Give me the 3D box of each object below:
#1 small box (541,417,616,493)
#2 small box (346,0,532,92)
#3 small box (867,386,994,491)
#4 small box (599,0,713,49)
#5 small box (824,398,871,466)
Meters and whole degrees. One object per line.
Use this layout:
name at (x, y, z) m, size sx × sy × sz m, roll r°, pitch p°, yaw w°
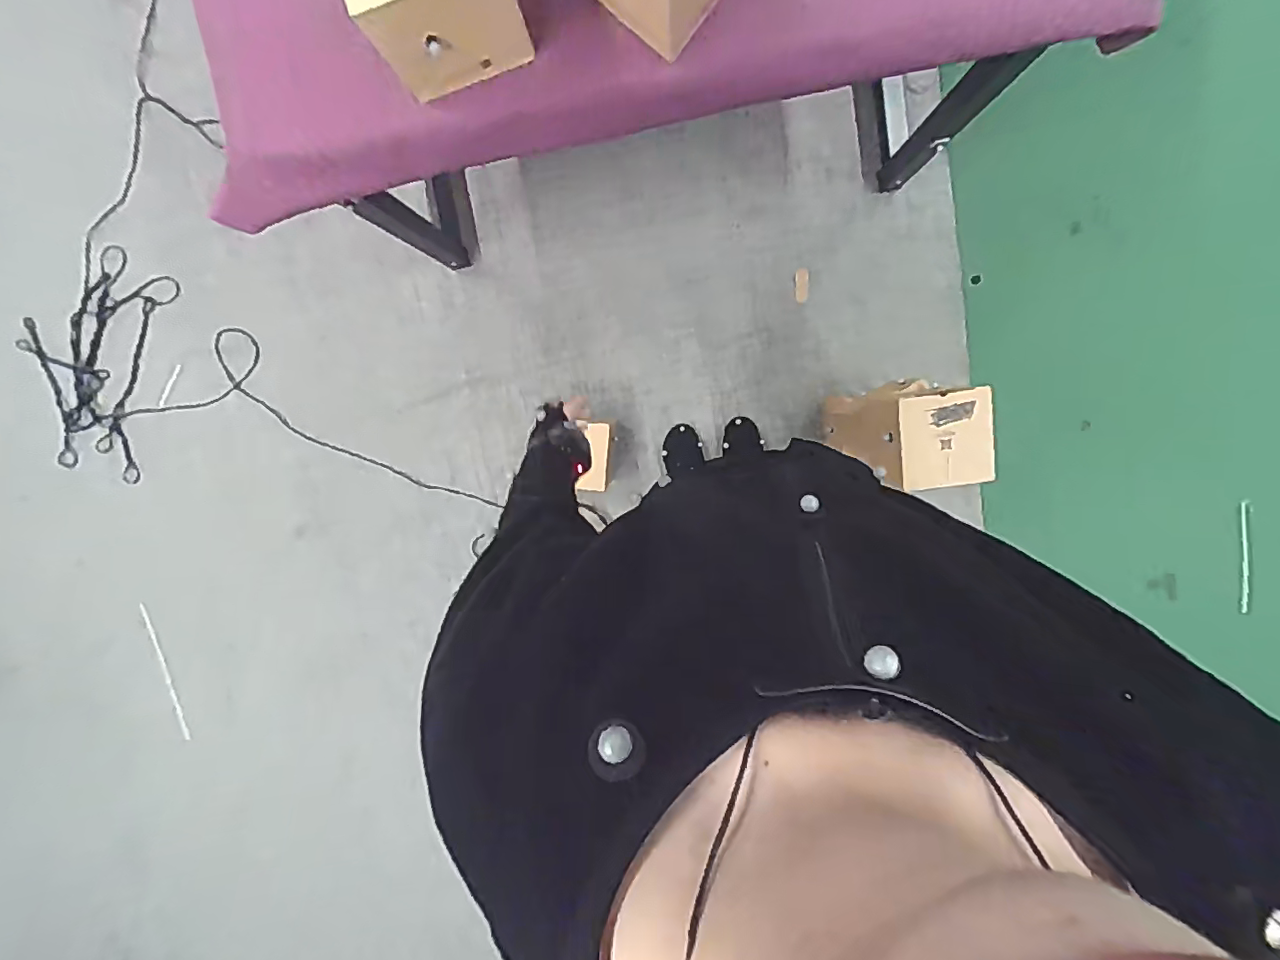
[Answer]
small box at (-0.159, -0.073, 1.438) m, size 0.168 × 0.176 × 0.179 m, roll 6°, pitch 99°, yaw 3°
small box at (-0.243, -0.597, 0.631) m, size 0.168 × 0.176 × 0.179 m, roll -16°, pitch 95°, yaw 6°
small box at (0.557, -0.084, 1.057) m, size 0.168 × 0.176 × 0.179 m, roll -7°, pitch 99°, yaw 4°
small box at (0.021, -0.642, 0.605) m, size 0.179 × 0.176 × 0.168 m, roll 40°, pitch 98°, yaw -2°
small box at (0.580, -0.124, 1.383) m, size 0.179 × 0.176 × 0.168 m, roll 1°, pitch 99°, yaw 4°
